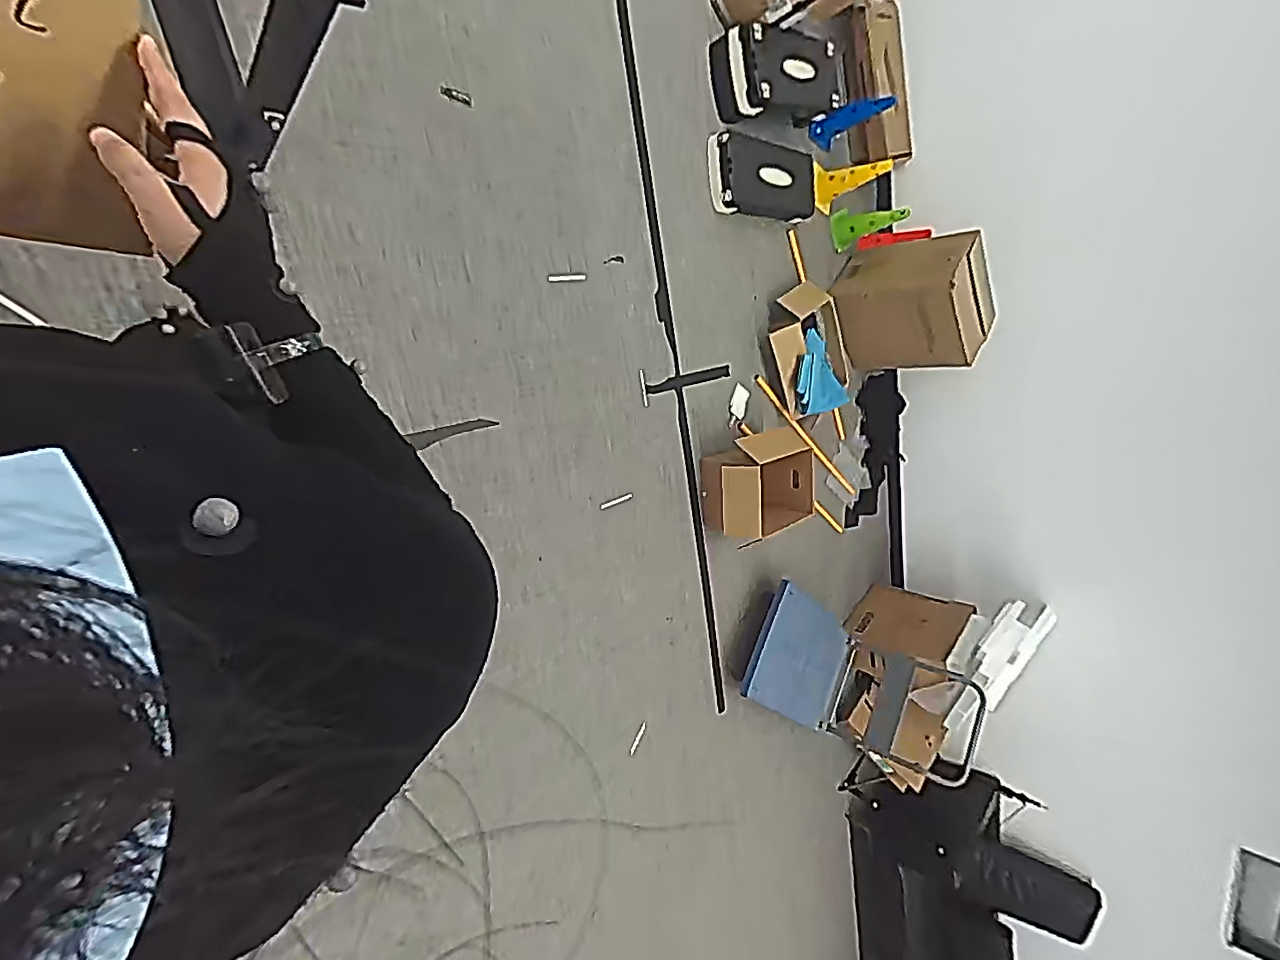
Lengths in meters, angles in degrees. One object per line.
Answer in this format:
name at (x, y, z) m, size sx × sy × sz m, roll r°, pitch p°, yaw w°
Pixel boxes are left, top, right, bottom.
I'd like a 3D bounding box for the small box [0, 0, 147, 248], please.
small box at (-0.445, -0.283, 0.353) m, size 0.168 × 0.176 × 0.179 m, roll -9°, pitch 132°, yaw -47°
